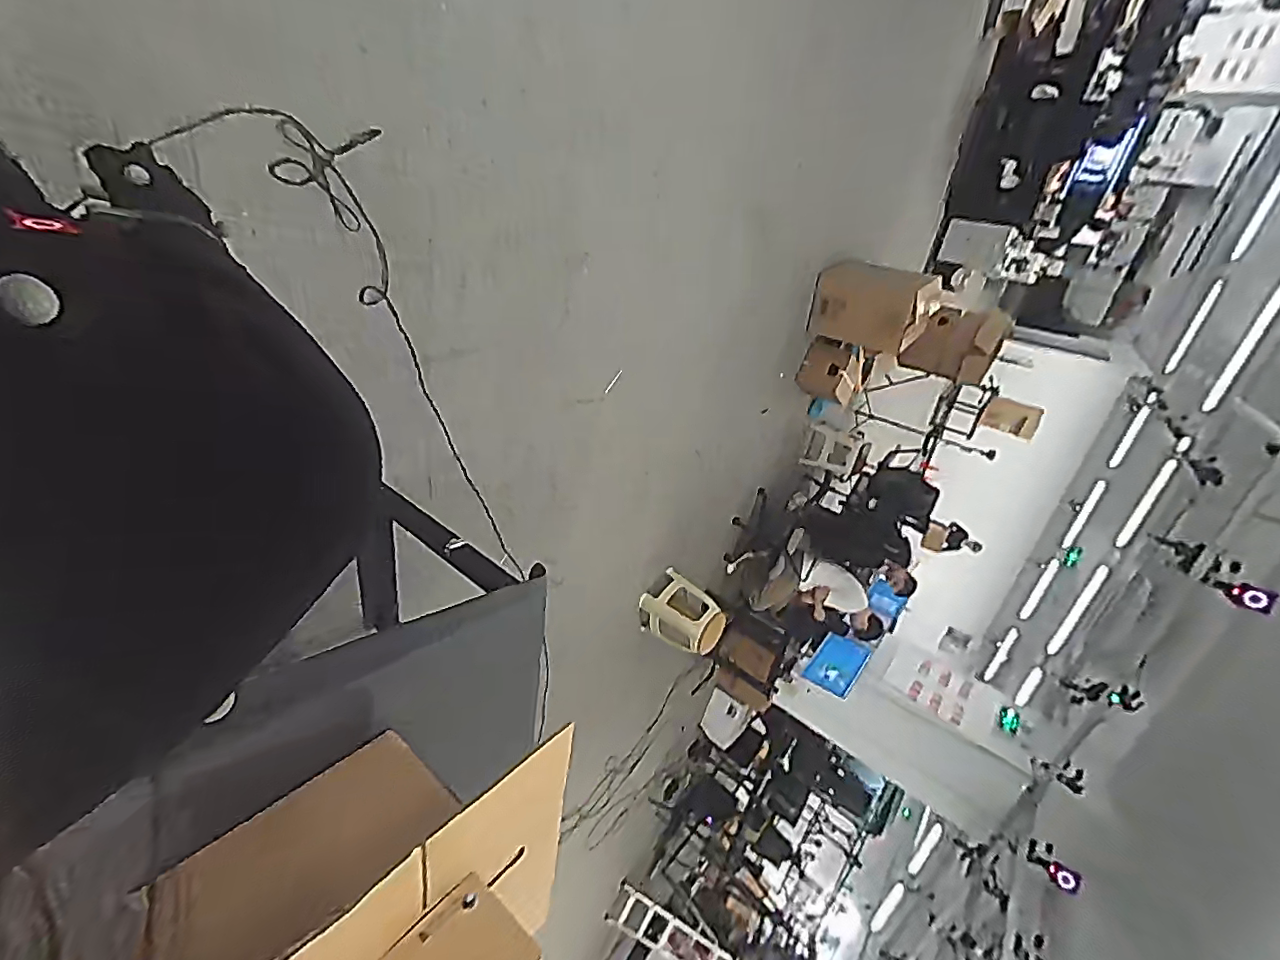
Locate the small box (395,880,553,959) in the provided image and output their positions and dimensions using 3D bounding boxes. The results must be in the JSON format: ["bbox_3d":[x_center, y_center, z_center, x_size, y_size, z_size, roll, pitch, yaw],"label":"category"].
[{"bbox_3d":[-0.251,0.750,0.802,0.168,0.176,0.179,-22,130,-49],"label":"small box"}]
